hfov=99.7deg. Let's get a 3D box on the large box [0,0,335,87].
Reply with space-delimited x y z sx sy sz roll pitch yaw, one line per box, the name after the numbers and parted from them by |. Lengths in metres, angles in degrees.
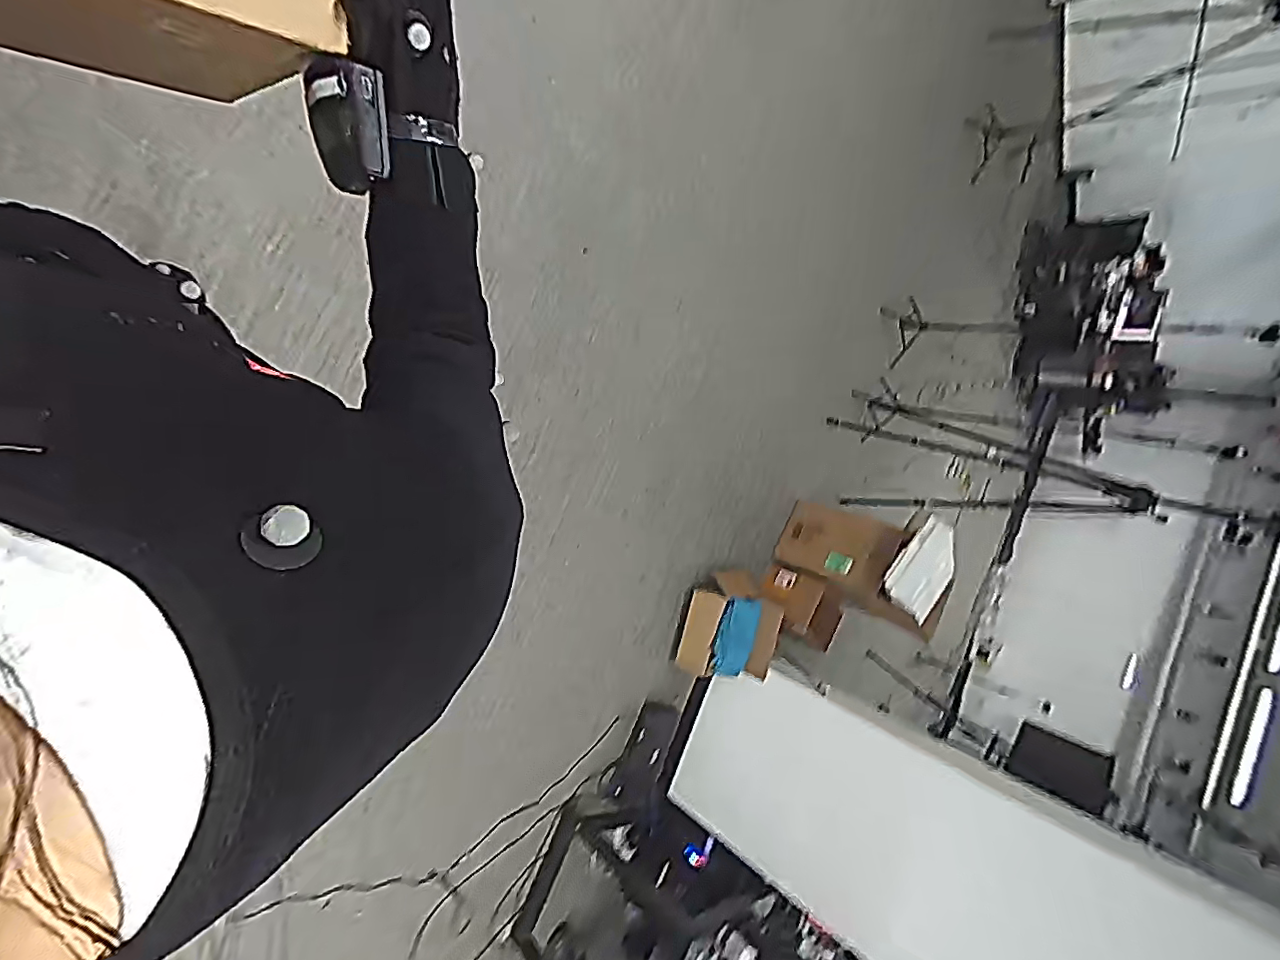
-0.413 -0.415 0.227 0.408 0.320 0.320 -16 123 -43 | large box
